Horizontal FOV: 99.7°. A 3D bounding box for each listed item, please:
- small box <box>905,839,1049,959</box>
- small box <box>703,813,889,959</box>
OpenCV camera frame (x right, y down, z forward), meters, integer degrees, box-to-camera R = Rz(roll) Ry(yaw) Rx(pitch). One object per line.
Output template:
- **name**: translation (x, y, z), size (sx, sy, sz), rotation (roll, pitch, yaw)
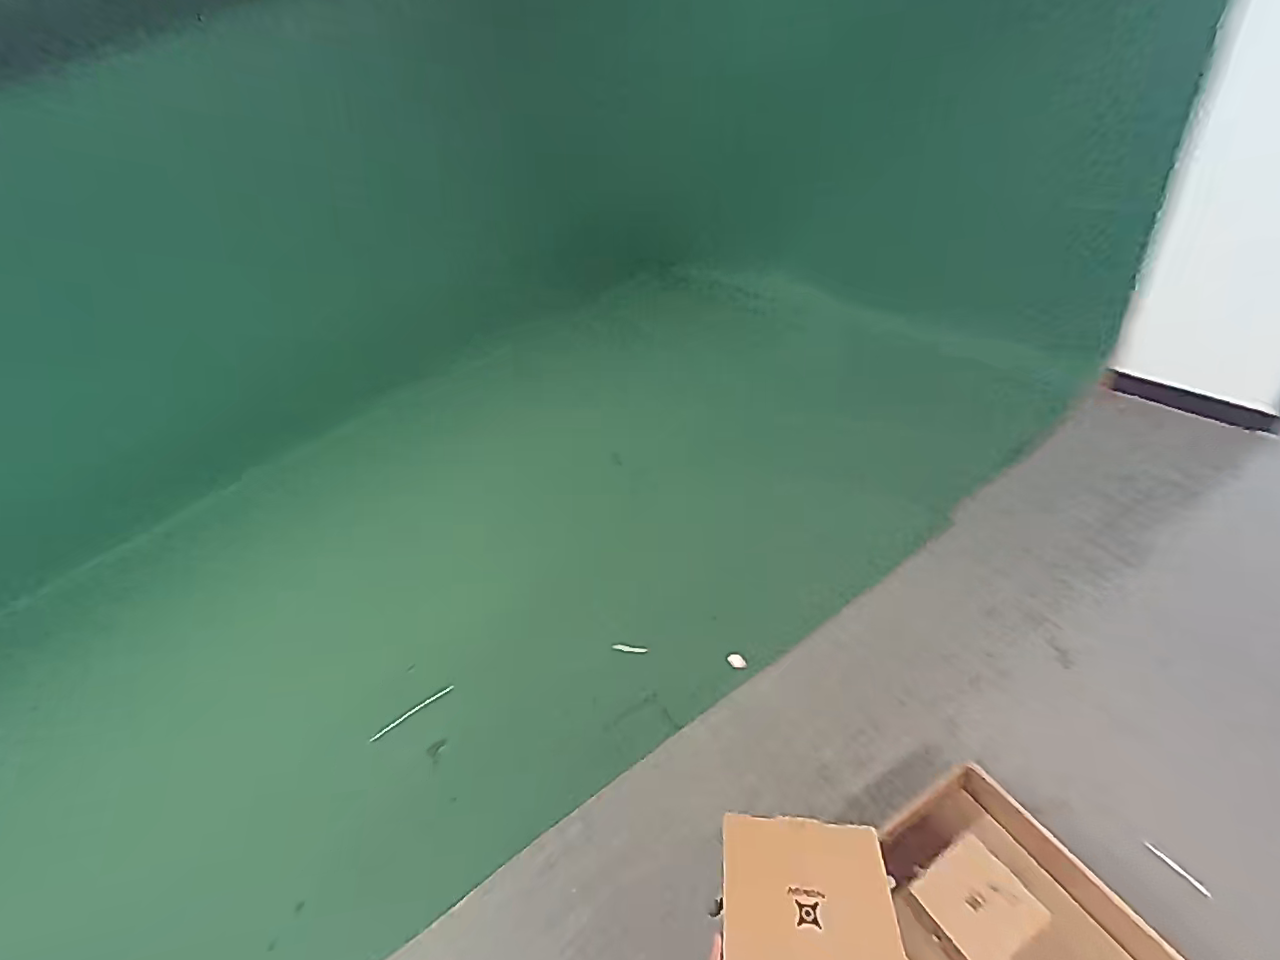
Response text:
- **small box**: translation (0.651, 0.862, 1.065), size (0.179, 0.176, 0.168), rotation (-31, 42, -12)
- **small box**: translation (0.151, 0.482, 0.554), size (0.168, 0.176, 0.179), rotation (-1, 25, 8)
